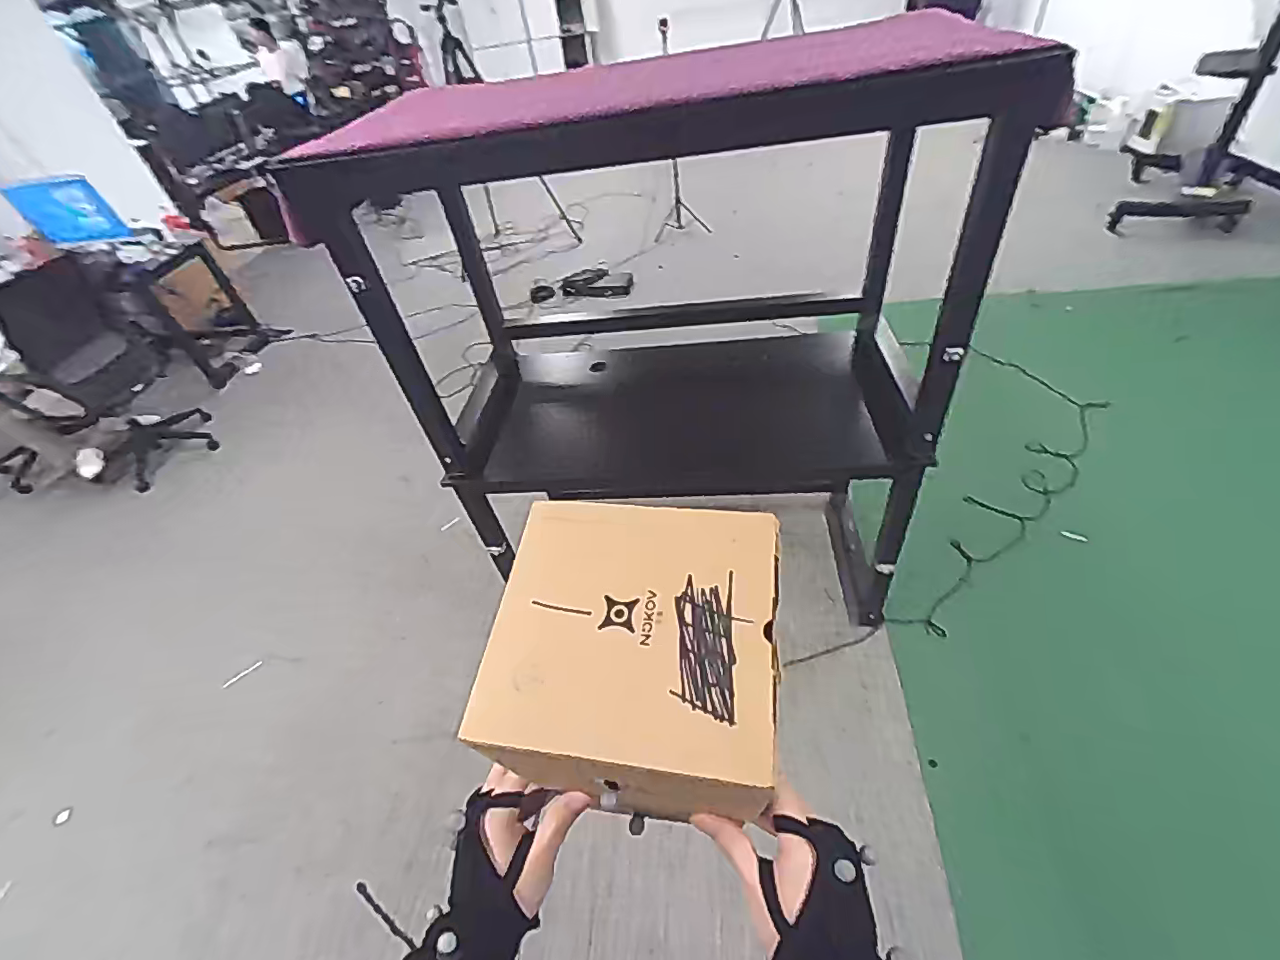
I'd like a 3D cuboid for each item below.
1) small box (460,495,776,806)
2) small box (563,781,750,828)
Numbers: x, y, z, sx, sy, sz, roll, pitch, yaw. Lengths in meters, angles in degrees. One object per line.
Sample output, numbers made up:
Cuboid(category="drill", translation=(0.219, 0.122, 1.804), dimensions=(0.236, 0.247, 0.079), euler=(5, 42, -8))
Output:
Cuboid(category="small box", translation=(0.003, 0.129, 0.399), dimensions=(0.179, 0.176, 0.168), euler=(3, 53, 11))
Cuboid(category="small box", translation=(0.022, 0.223, 0.532), dimensions=(0.168, 0.176, 0.179), euler=(3, 54, 10))
